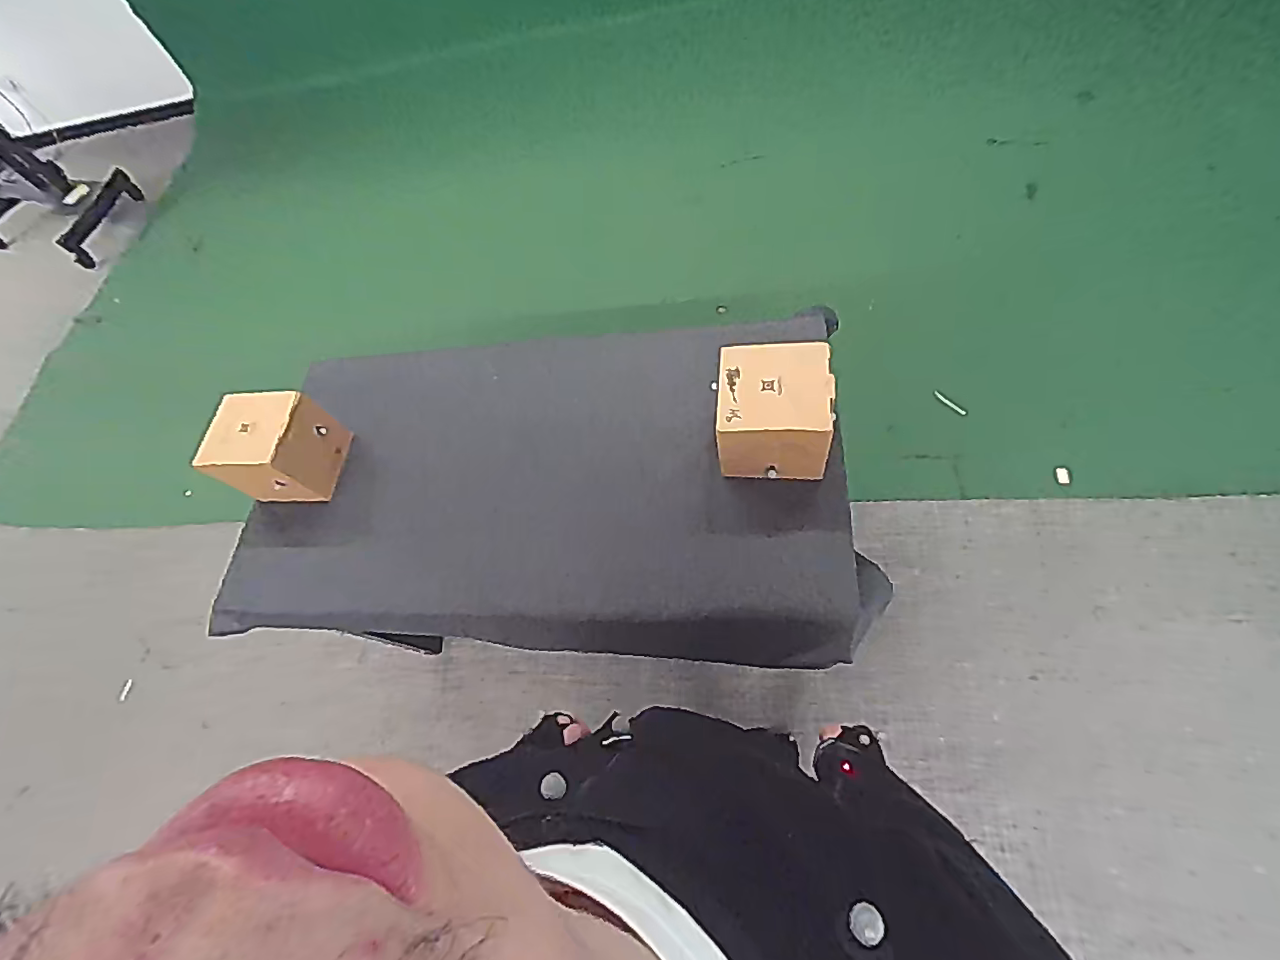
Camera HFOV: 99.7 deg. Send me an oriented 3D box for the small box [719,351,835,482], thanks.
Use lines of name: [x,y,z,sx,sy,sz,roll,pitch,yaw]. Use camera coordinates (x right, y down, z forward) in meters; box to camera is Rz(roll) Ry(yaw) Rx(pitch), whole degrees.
small box: [0.231,-0.104,0.930,0.179,0.176,0.168,1,65,13]

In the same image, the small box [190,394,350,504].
small box: [-0.733,-0.059,1.097,0.179,0.176,0.168,1,62,12]
